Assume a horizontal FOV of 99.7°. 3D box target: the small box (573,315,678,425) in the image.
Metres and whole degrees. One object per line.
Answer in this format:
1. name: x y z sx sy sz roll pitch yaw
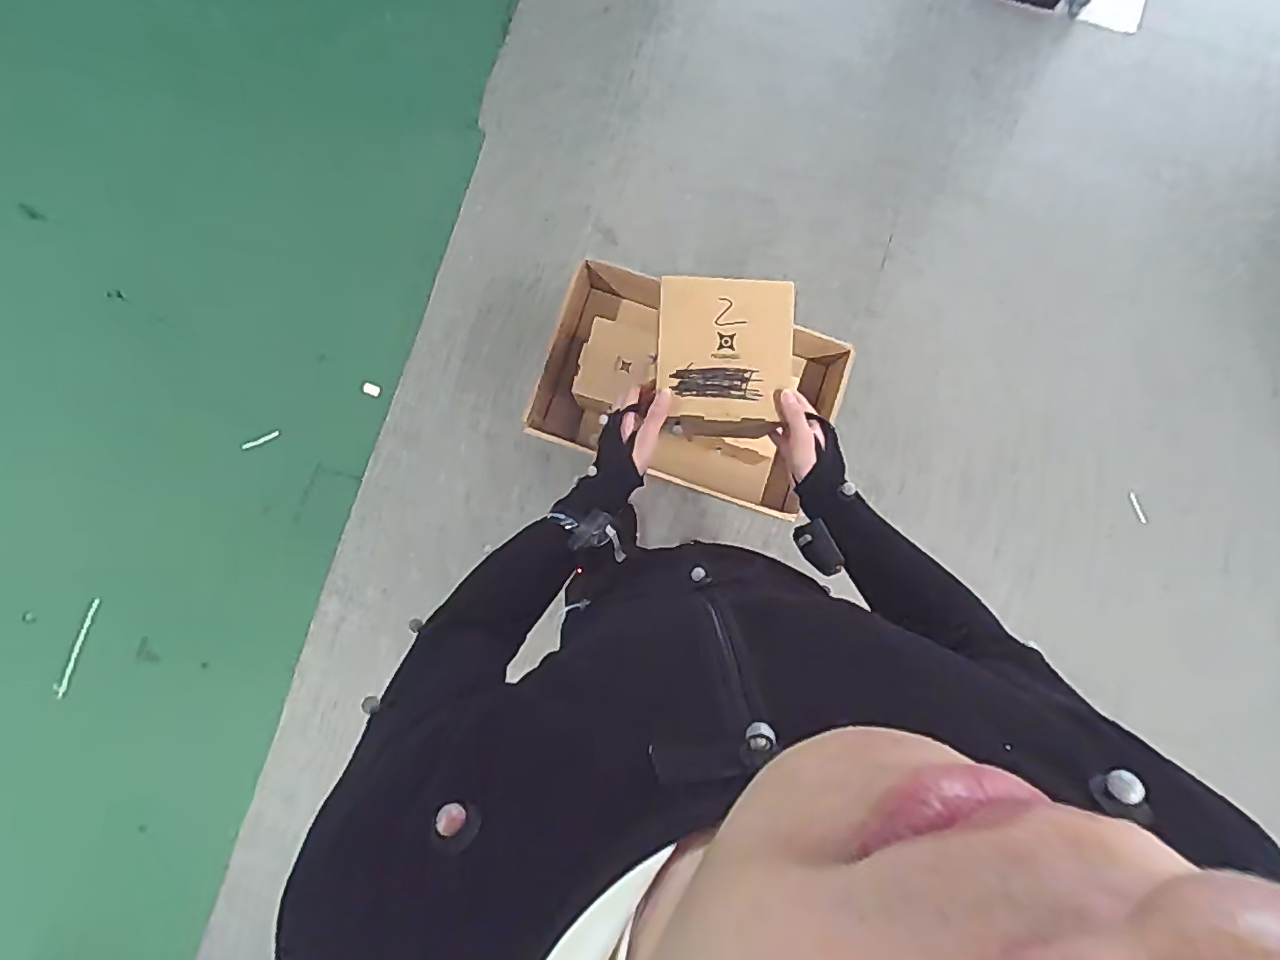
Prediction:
1. small box: -0.030 -0.227 1.171 0.179 0.176 0.168 18 87 0
